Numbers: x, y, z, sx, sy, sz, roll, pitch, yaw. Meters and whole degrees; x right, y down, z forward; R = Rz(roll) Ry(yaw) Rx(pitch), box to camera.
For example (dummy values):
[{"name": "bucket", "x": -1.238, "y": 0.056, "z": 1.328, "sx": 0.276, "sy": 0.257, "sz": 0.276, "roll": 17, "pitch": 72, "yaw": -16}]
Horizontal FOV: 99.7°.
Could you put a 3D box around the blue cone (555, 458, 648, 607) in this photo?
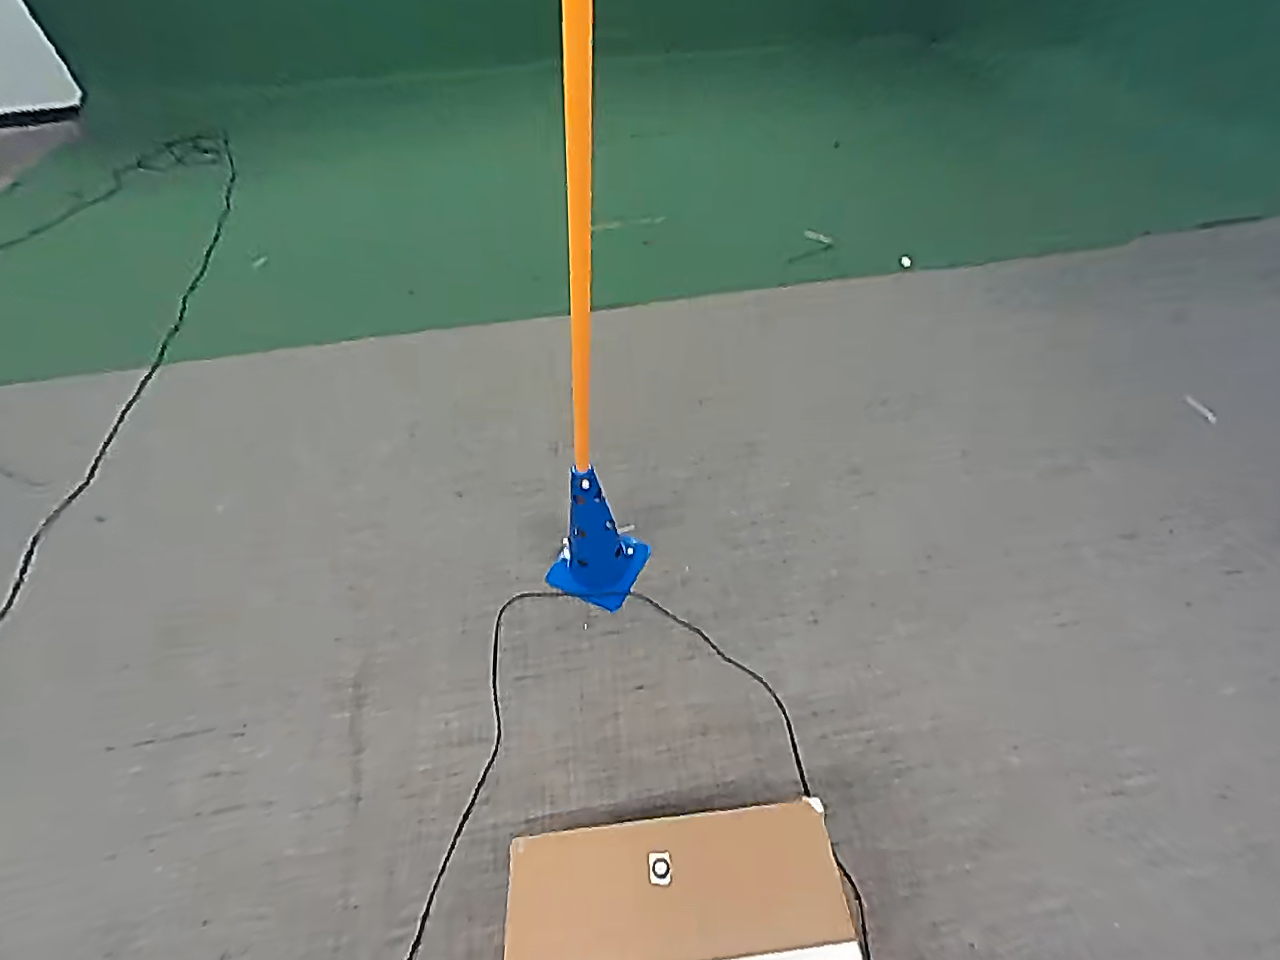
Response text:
[{"name": "blue cone", "x": -0.095, "y": 0.091, "z": 1.163, "sx": 0.192, "sy": 0.380, "sz": 0.193, "roll": 18, "pitch": 52, "yaw": 16}]
